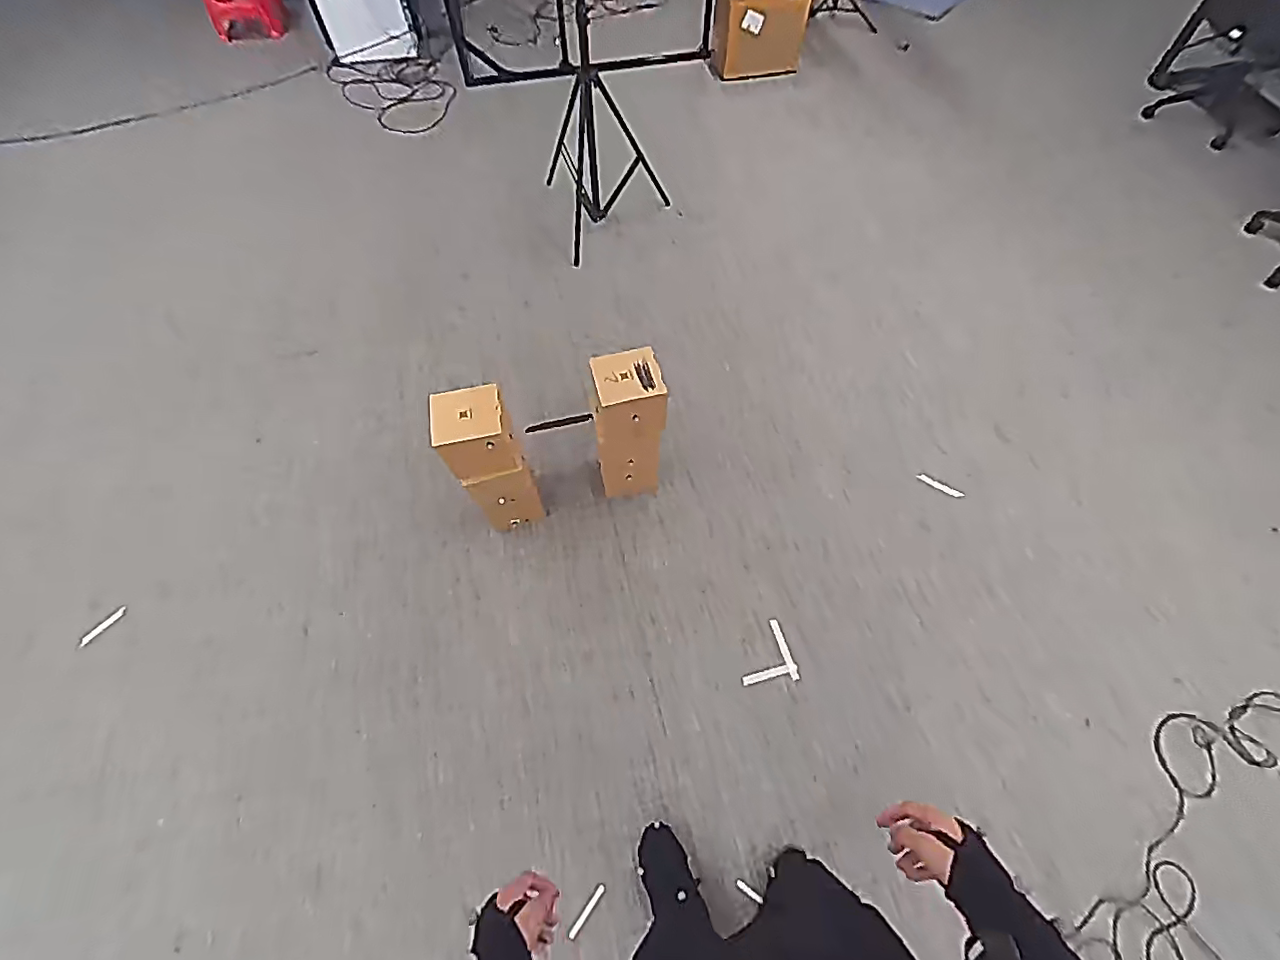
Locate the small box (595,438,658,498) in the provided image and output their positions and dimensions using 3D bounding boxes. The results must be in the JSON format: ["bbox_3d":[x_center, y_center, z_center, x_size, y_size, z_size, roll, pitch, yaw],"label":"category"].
[{"bbox_3d":[-0.041,-0.055,1.759,0.179,0.176,0.168,-10,61,-6],"label":"small box"}]

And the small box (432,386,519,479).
[{"bbox_3d":[-0.431,-0.119,1.425,0.179,0.176,0.168,-11,61,-5],"label":"small box"}]

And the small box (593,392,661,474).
[{"bbox_3d":[-0.043,-0.137,1.617,0.179,0.176,0.168,-9,60,-6],"label":"small box"}]

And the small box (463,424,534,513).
[{"bbox_3d":[-0.414,-0.032,1.561,0.168,0.176,0.179,-16,62,-7],"label":"small box"}]

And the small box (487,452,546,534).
[{"bbox_3d":[-0.406,0.042,1.707,0.168,0.176,0.179,-17,62,-9],"label":"small box"}]
